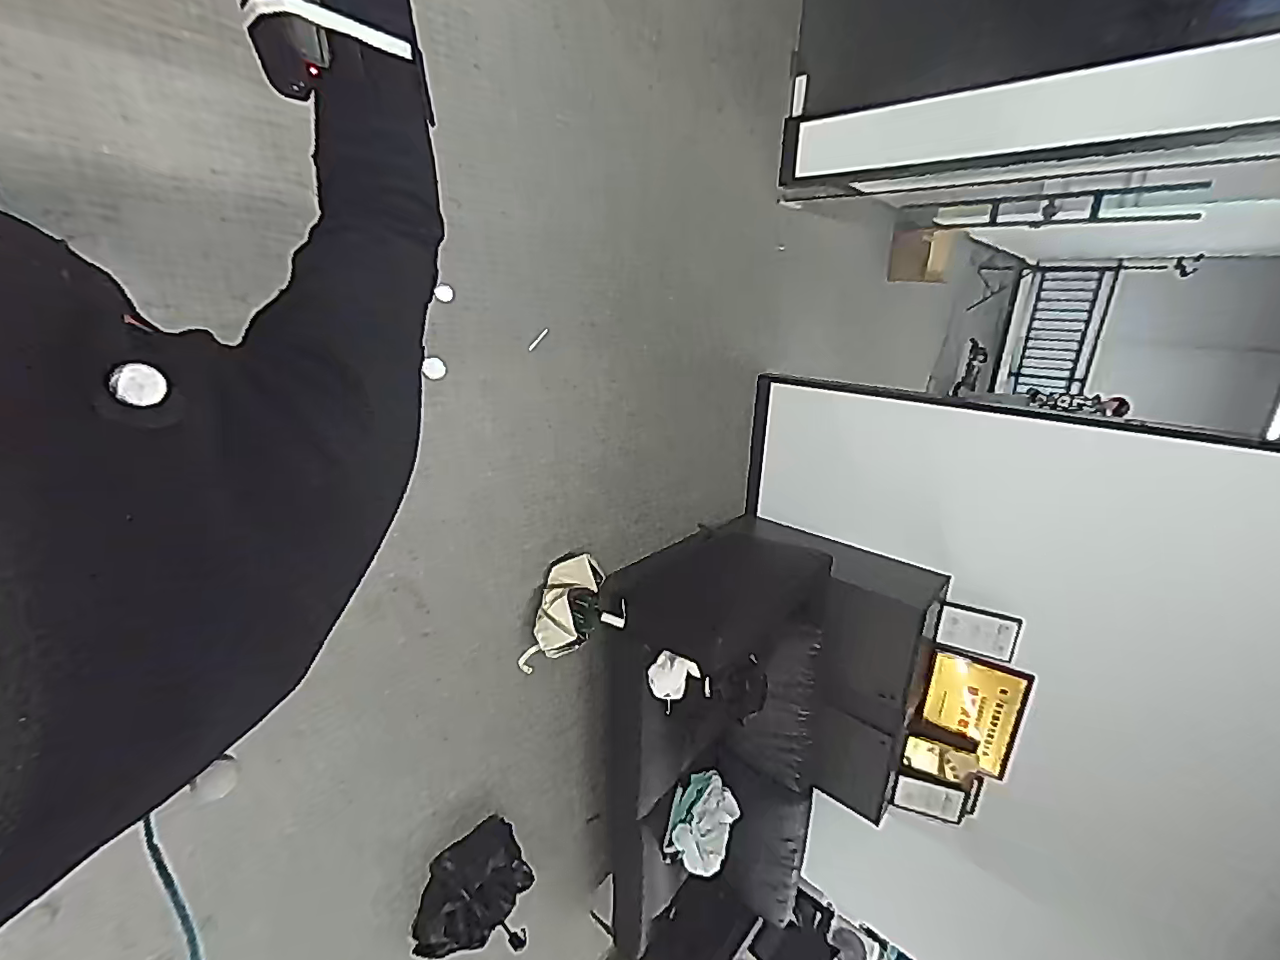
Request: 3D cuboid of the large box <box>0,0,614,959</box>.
[{"bbox_3d":[-0.213,0.028,0.305,0.320,0.320,0.408,11,62,-20],"label":"large box"}]
